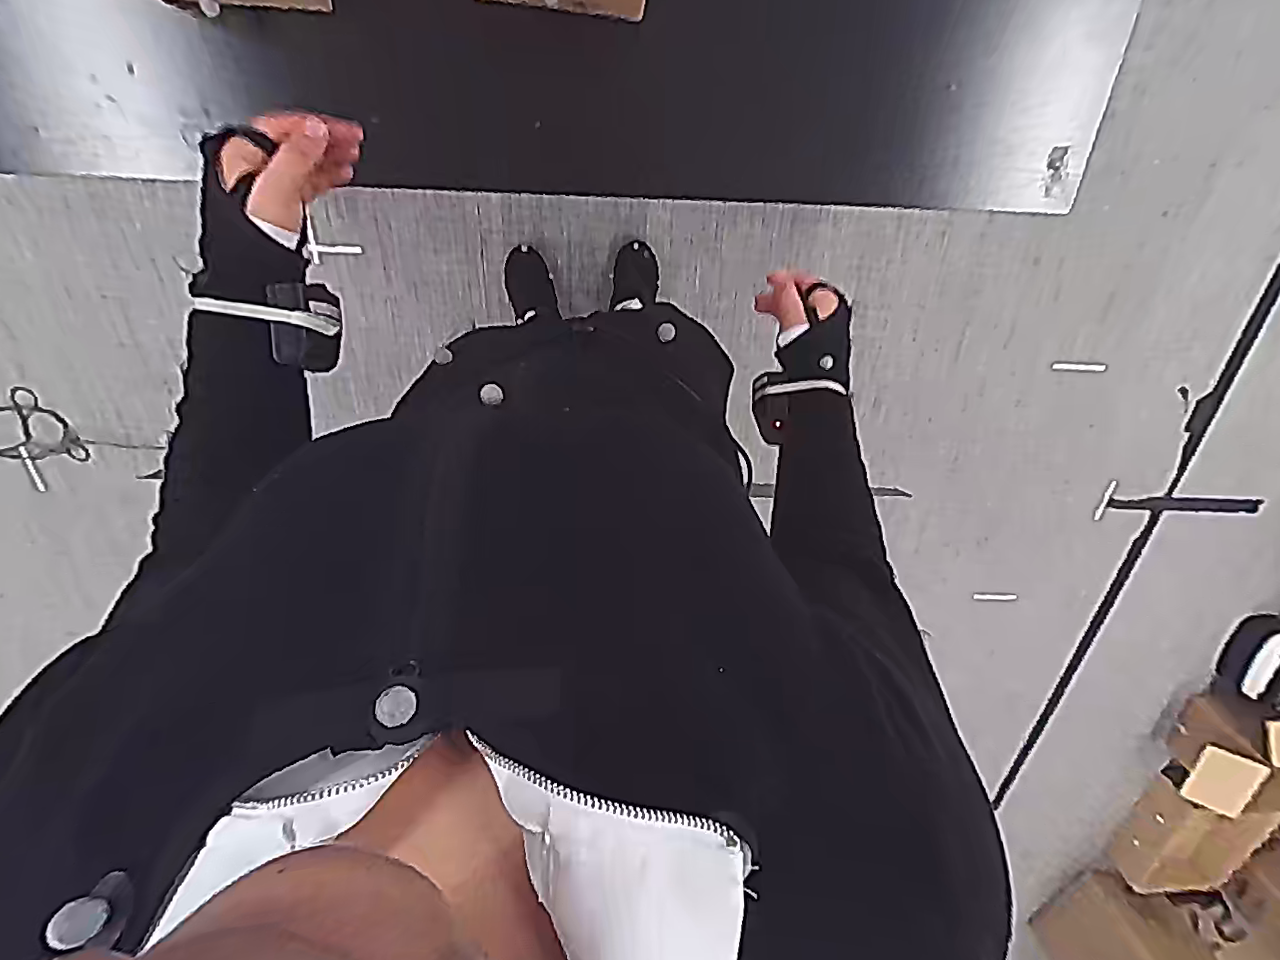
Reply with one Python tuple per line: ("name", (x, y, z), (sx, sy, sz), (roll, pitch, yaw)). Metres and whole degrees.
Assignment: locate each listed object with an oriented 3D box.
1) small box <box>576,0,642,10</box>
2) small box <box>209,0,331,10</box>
("small box", (-0.065, -0.500, 0.414), (0.168, 0.176, 0.179), (4, 117, -5))
("small box", (-0.363, -0.493, 0.402), (0.168, 0.176, 0.179), (1, 118, -3))
